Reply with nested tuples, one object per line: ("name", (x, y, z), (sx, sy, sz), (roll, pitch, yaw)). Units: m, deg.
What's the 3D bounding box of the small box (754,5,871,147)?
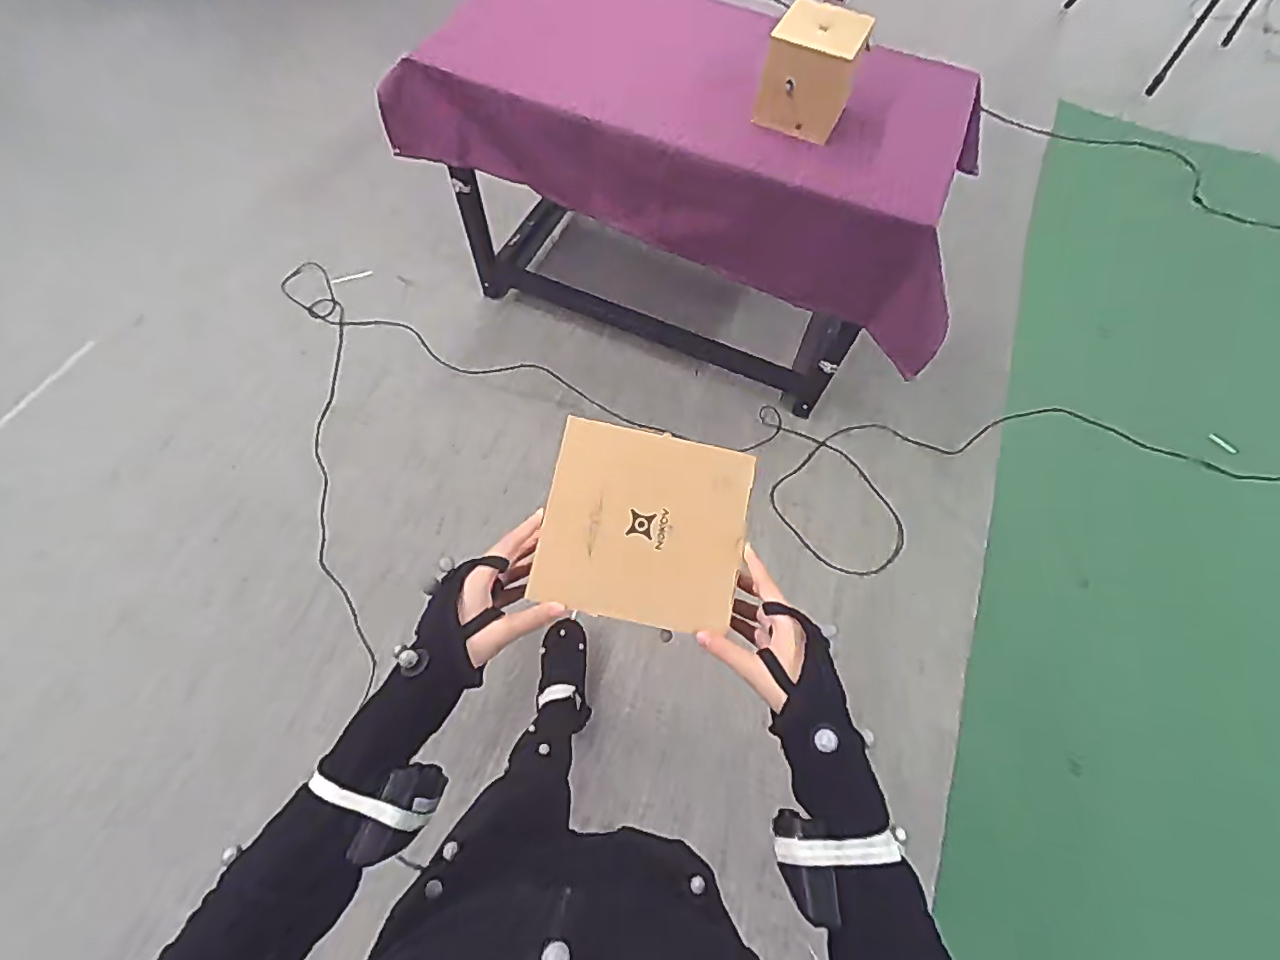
("small box", (0.353, -0.839, 1.133), (0.168, 0.176, 0.179), (24, 64, 9))
